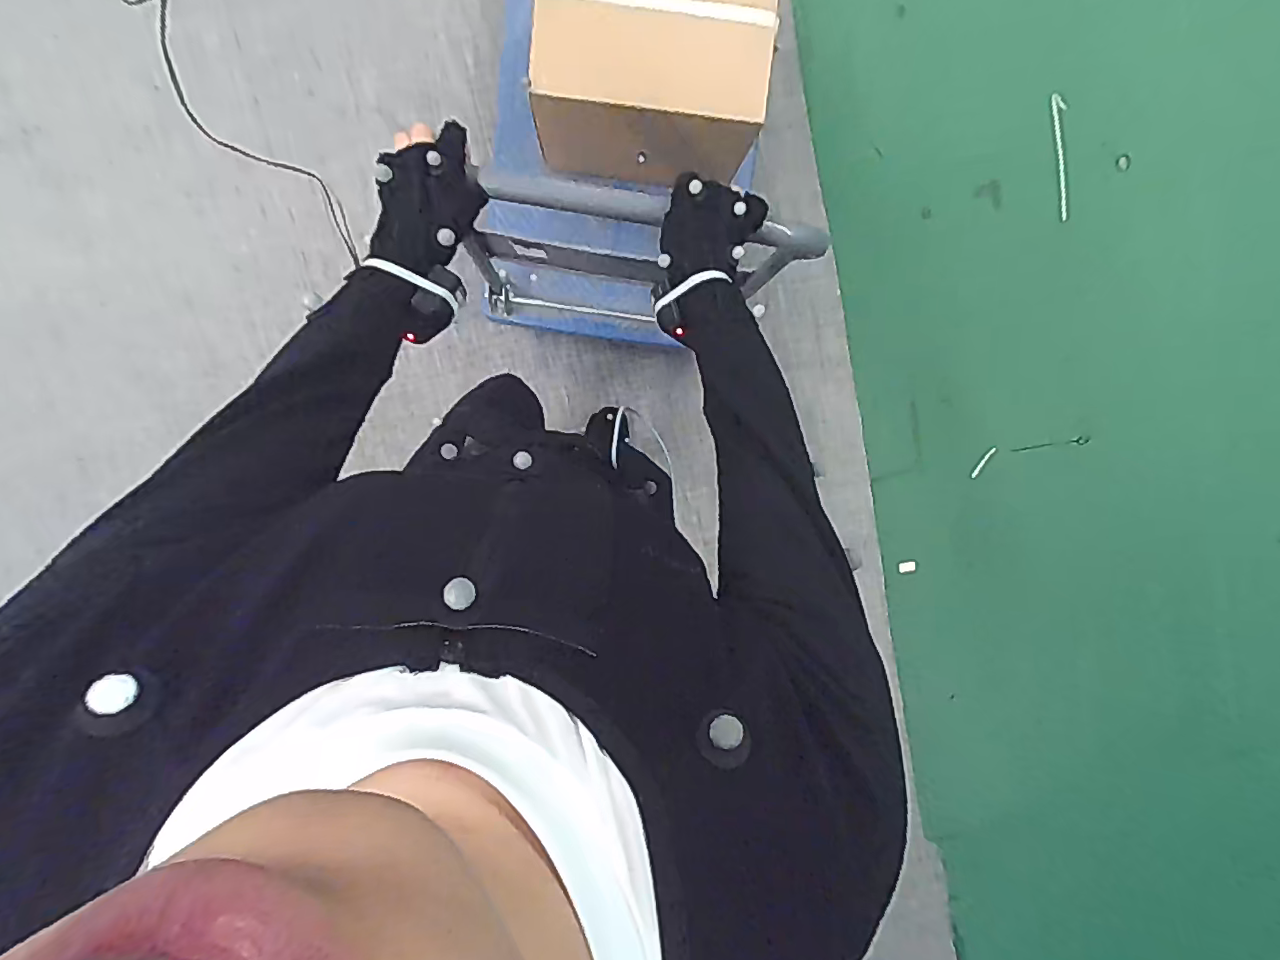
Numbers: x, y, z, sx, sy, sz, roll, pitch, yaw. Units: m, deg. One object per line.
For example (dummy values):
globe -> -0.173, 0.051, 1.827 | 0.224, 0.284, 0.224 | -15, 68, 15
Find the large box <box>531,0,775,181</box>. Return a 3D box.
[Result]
large box -> 0.020, -0.809, 1.037 | 0.408, 0.320, 0.320 | 5, 98, -4
